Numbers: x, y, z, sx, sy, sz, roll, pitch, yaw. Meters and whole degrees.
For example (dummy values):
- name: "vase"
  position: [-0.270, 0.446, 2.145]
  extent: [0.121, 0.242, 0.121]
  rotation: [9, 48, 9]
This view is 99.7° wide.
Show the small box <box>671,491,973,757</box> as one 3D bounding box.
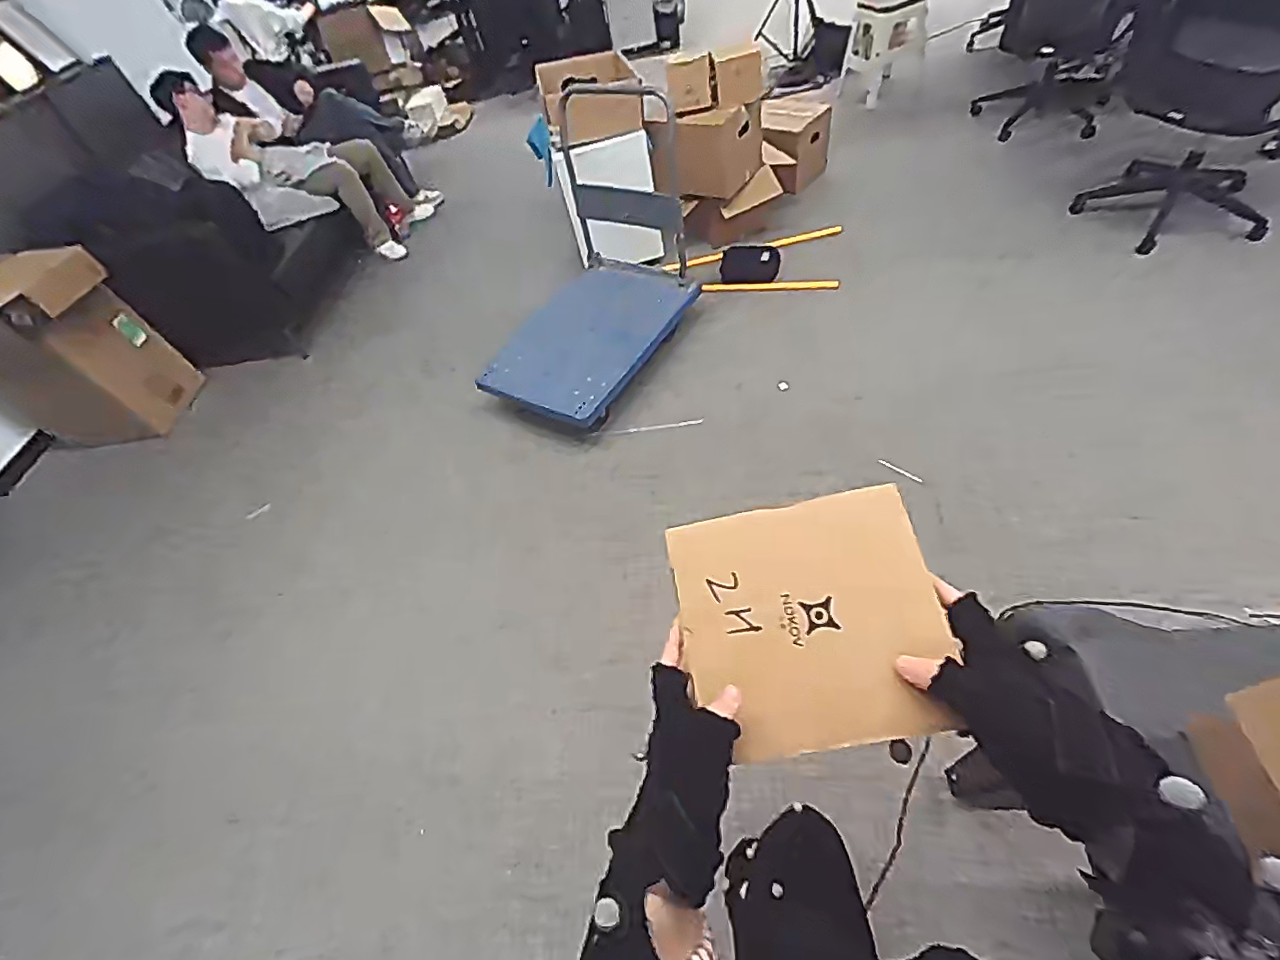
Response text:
- name: "small box"
  position: [0.130, 0.125, 0.452]
  extent: [0.179, 0.176, 0.168]
  rotation: [-11, 66, 7]
